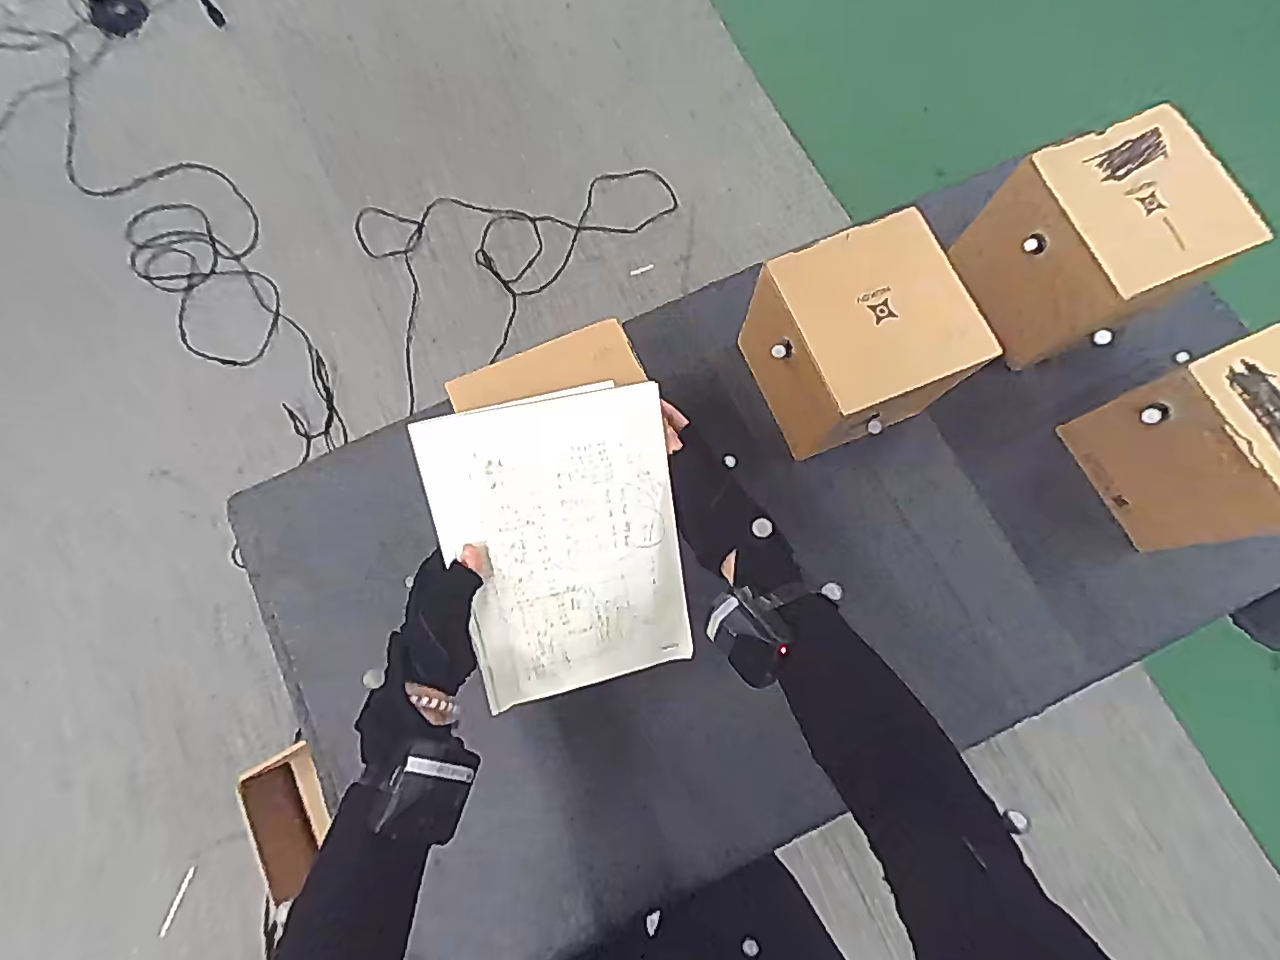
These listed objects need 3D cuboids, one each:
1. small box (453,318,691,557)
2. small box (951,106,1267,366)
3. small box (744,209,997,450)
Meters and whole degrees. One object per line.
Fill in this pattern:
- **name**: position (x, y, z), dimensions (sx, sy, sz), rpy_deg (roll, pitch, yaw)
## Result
- **small box**: position (-0.066, -0.033, 0.567), dimensions (0.179, 0.176, 0.168), rpy_deg (-22, 76, -7)
- **small box**: position (0.496, -0.260, 0.609), dimensions (0.168, 0.176, 0.179), rpy_deg (-22, 78, -3)
- **small box**: position (0.230, -0.146, 0.593), dimensions (0.168, 0.176, 0.179), rpy_deg (-22, 77, -3)
